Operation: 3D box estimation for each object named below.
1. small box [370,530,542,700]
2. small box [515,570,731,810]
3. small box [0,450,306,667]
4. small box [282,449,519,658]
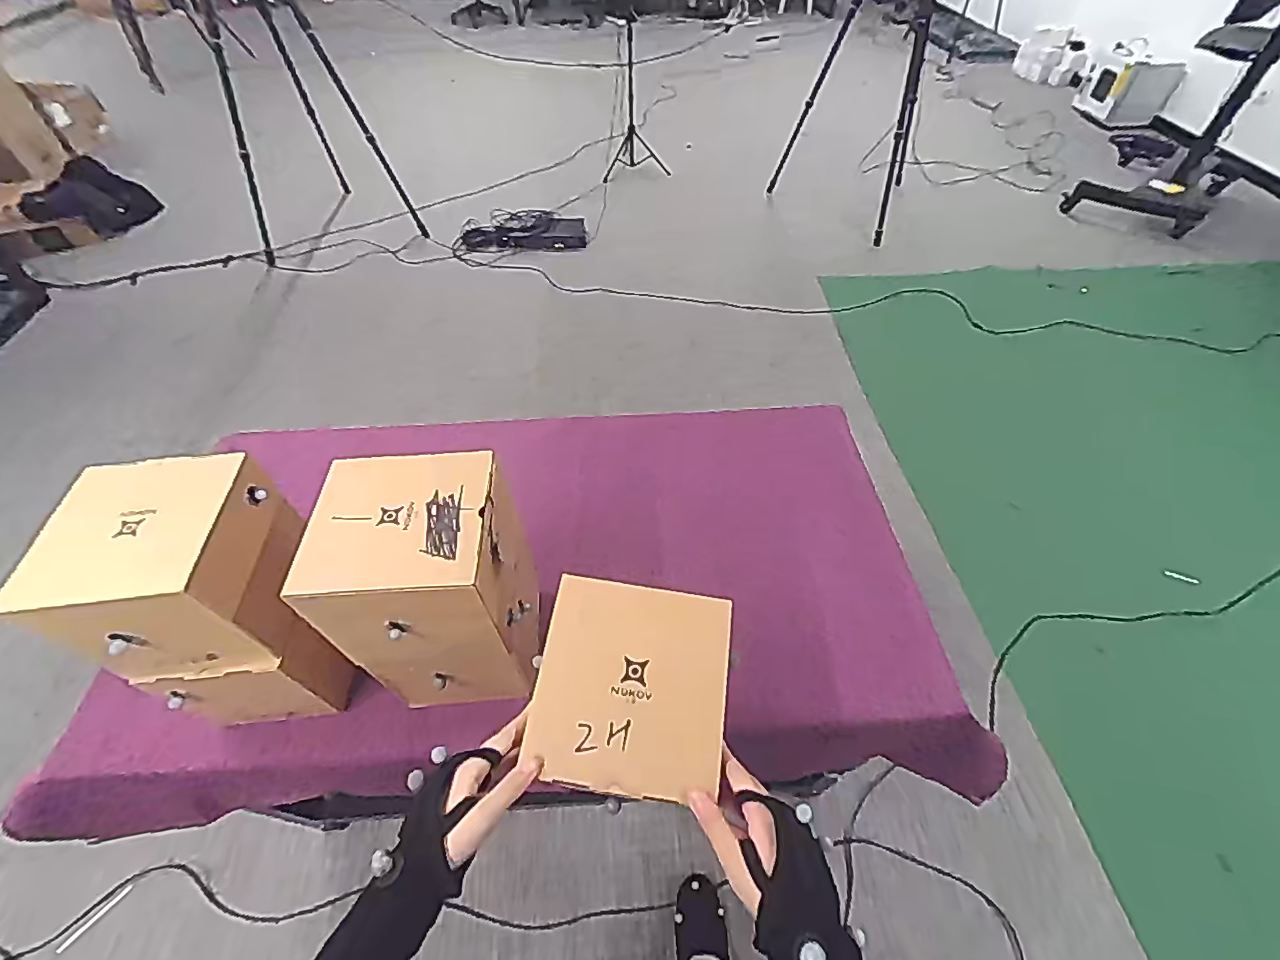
[{"bbox_3d":[-0.236,0.185,0.727,0.179,0.176,0.168,-4,51,-2],"label":"small box"},{"bbox_3d":[-0.010,0.211,0.540,0.168,0.176,0.179,8,61,4],"label":"small box"},{"bbox_3d":[-0.498,0.093,0.599,0.168,0.176,0.179,-6,50,-4],"label":"small box"},{"bbox_3d":[-0.238,0.084,0.597,0.179,0.176,0.168,-4,50,-1],"label":"small box"}]
